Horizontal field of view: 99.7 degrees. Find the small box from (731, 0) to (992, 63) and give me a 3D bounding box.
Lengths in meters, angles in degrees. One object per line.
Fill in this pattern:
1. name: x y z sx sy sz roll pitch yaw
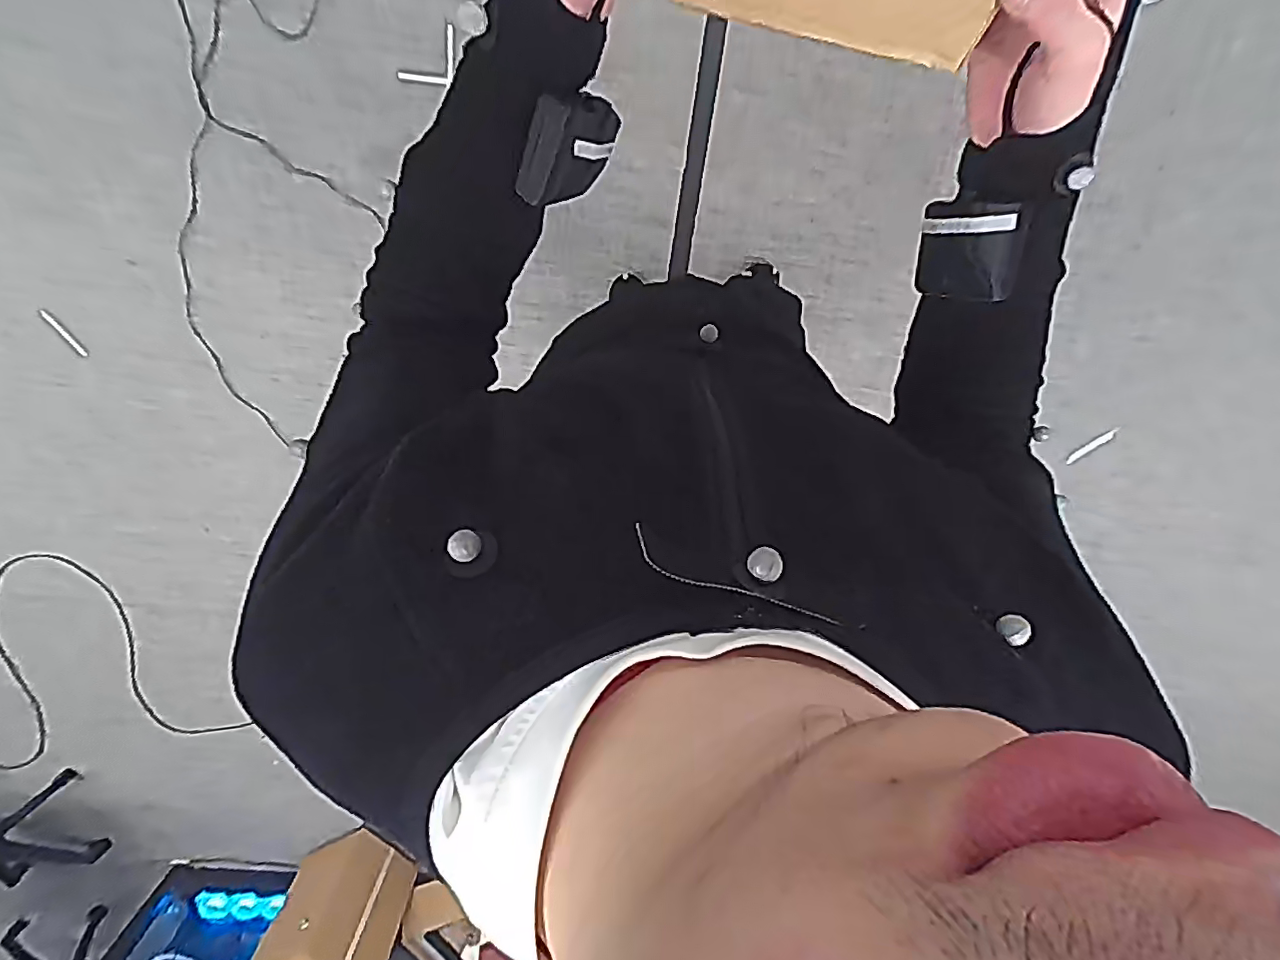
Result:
1. small box: 0.109 -0.343 0.244 0.176 0.168 0.179 10 68 -5
